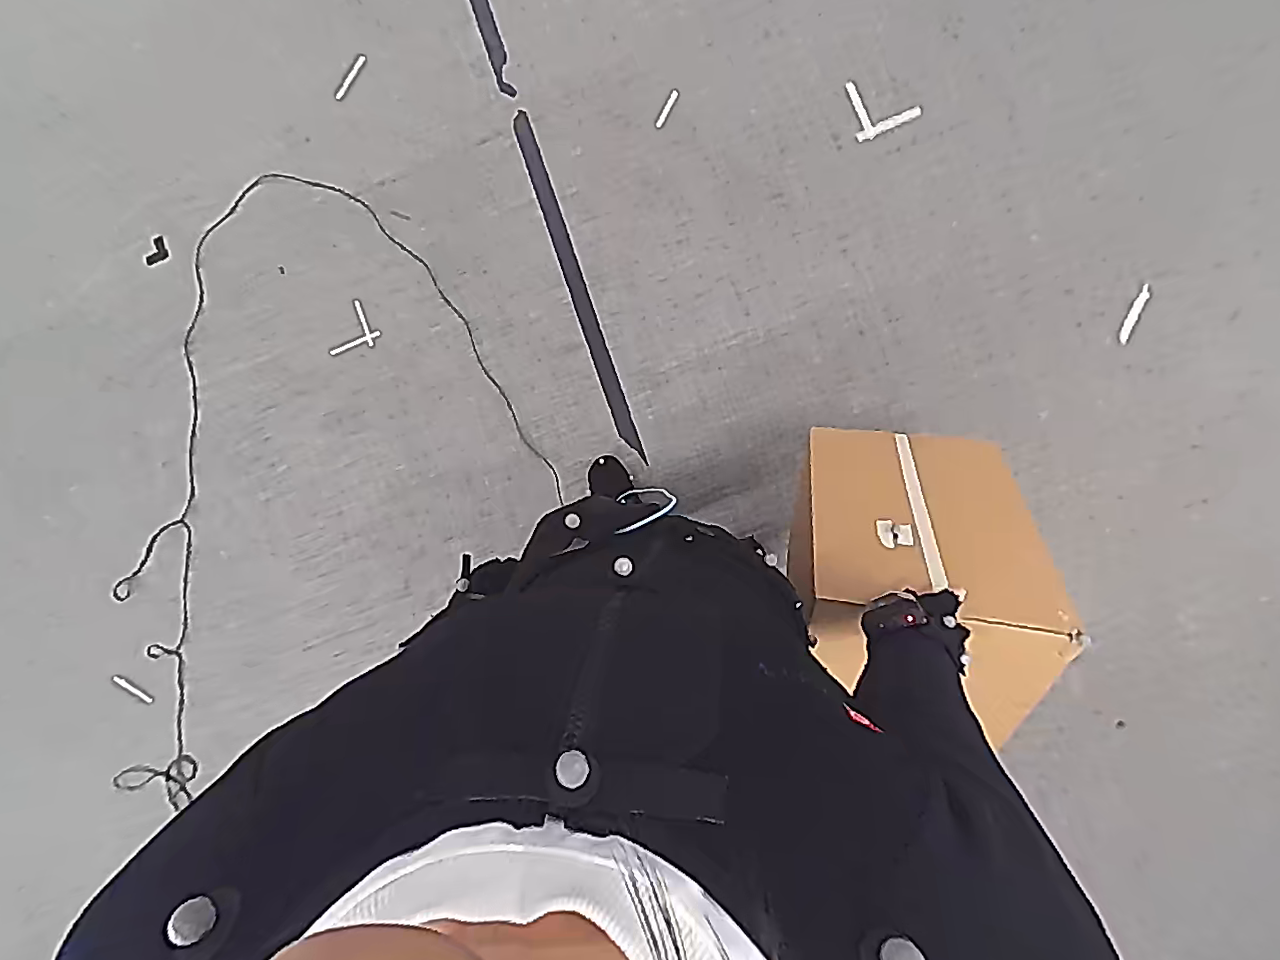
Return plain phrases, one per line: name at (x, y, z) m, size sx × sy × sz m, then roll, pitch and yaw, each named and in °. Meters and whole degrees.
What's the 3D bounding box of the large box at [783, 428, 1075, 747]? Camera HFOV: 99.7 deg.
large box at (0.416, 0.159, 0.910) m, size 0.320 × 0.408 × 0.320 m, roll 5°, pitch 131°, yaw 12°
